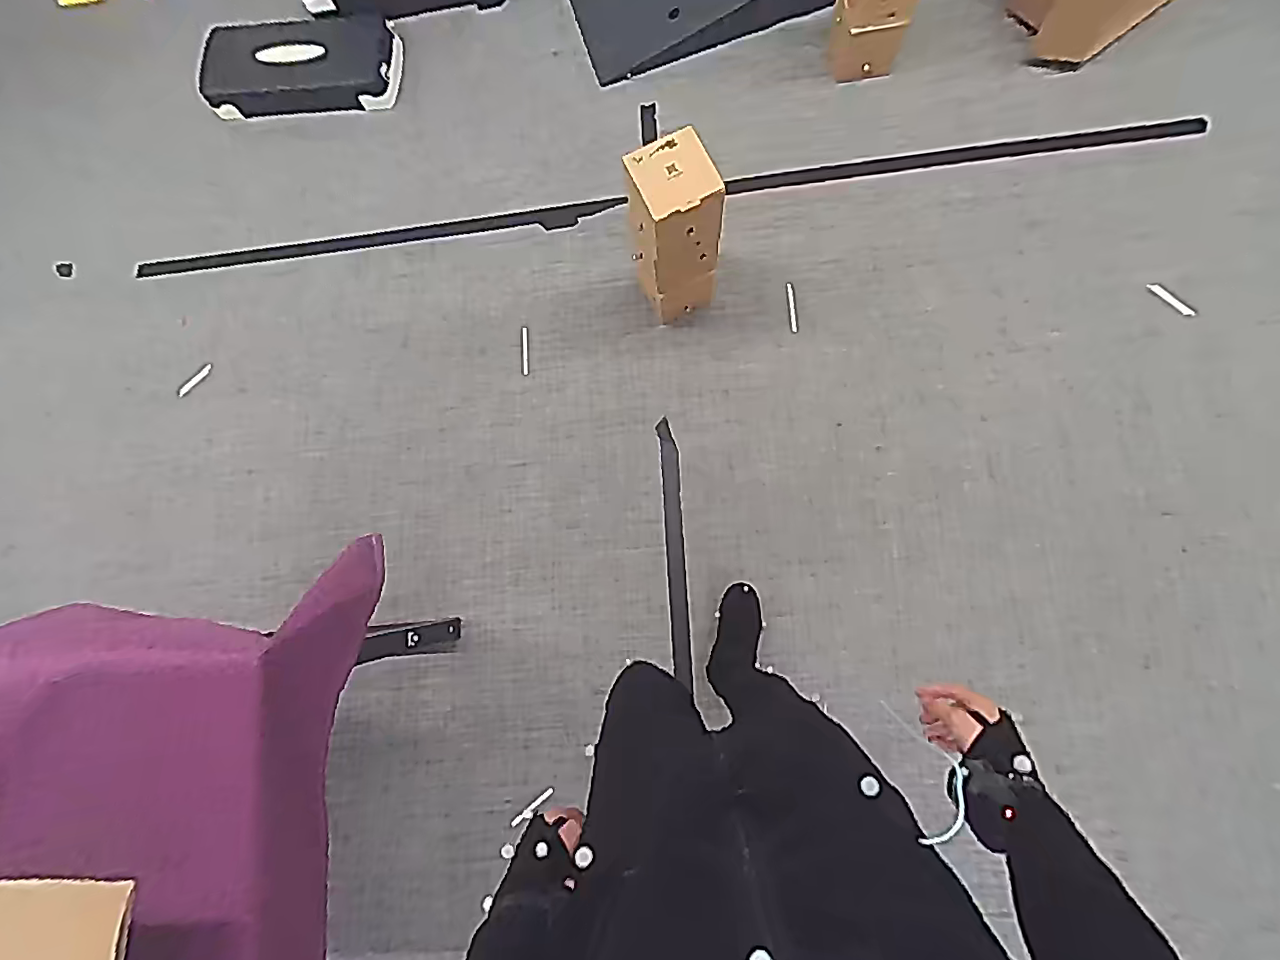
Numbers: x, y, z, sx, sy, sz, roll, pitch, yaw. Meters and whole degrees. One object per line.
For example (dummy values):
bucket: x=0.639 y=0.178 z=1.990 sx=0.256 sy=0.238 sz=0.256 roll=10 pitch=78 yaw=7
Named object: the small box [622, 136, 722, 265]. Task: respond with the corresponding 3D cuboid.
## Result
small box: x=0.075 y=-0.619 z=1.228 sx=0.168 sy=0.176 sz=0.179 roll=-24 pitch=79 yaw=0
